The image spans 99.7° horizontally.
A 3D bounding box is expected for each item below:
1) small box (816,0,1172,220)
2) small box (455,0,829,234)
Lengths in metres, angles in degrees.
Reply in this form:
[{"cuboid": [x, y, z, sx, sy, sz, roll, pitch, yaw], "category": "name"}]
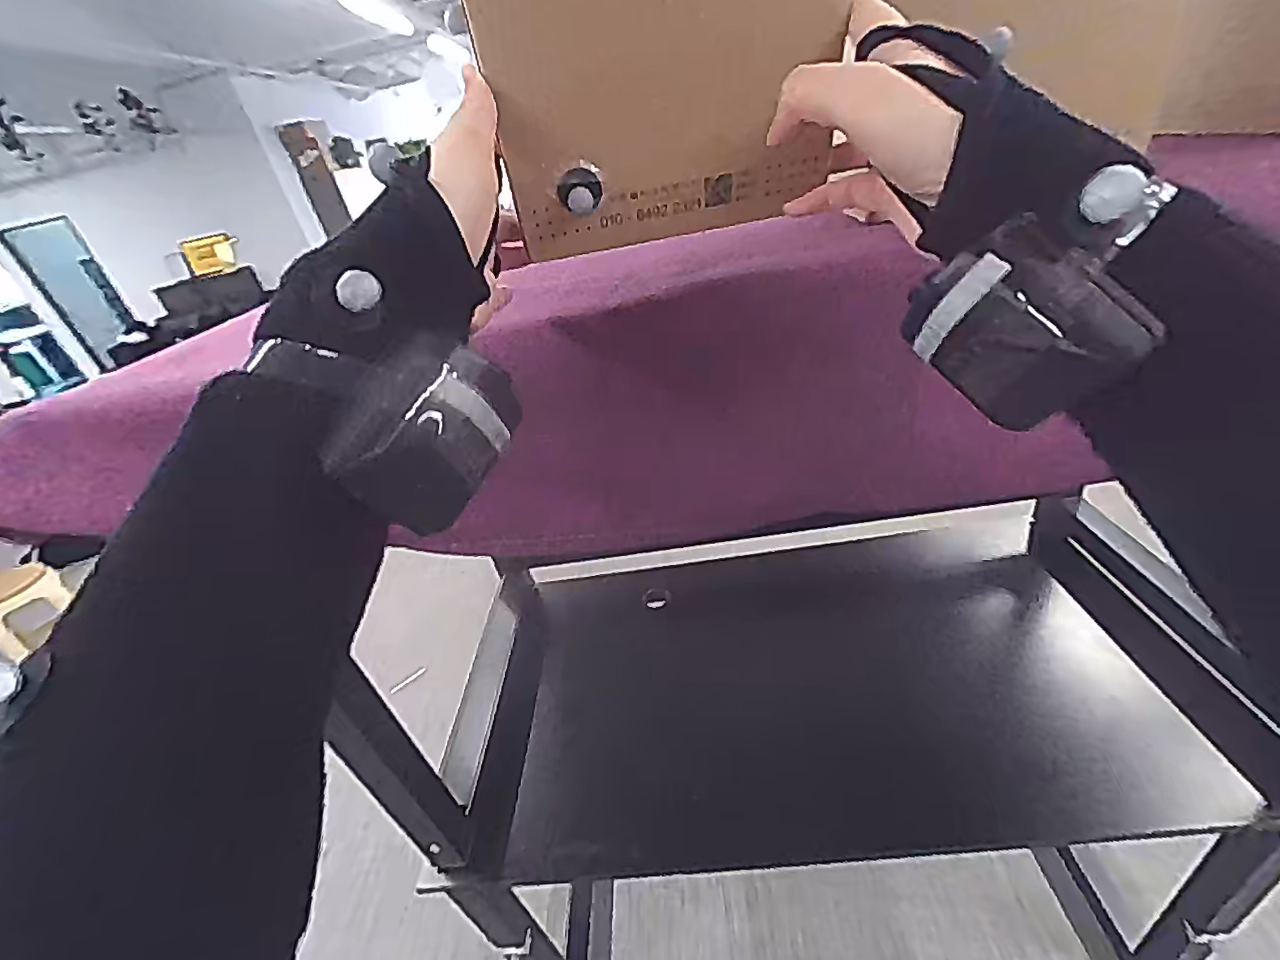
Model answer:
[{"cuboid": [0.231, -0.303, 0.391, 0.179, 0.176, 0.168, -7, 31, 9], "category": "small box"}, {"cuboid": [-0.006, -0.248, 0.291, 0.168, 0.176, 0.179, -12, 44, -3], "category": "small box"}]
